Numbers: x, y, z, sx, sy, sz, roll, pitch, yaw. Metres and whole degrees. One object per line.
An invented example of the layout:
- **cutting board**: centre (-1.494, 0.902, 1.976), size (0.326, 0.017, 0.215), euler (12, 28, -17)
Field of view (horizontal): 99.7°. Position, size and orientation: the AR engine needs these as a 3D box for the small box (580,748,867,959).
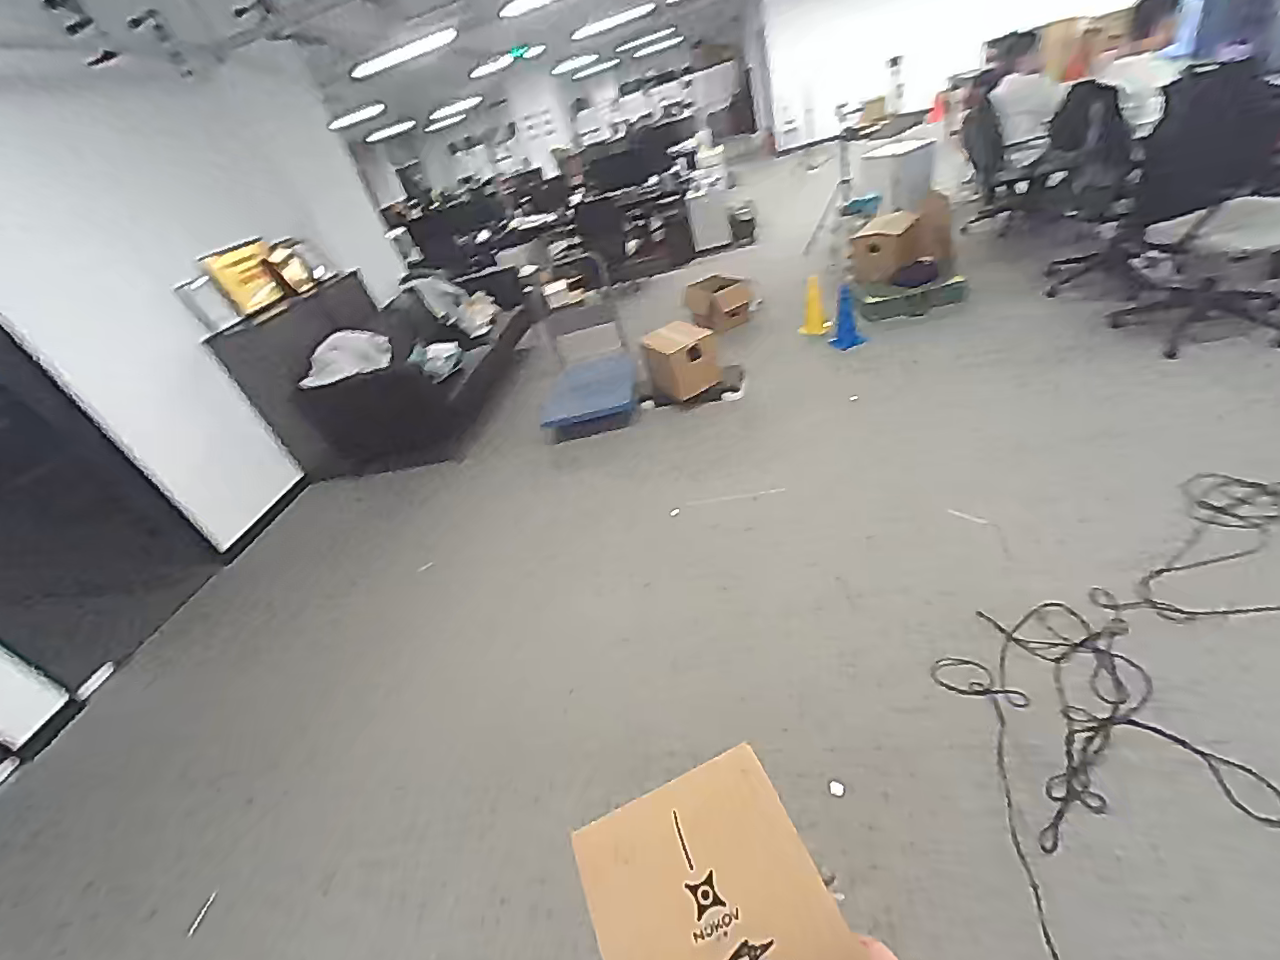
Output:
- **small box**: centre (0.071, 0.359, 0.439), size (0.168, 0.176, 0.179), euler (-23, 46, -6)
